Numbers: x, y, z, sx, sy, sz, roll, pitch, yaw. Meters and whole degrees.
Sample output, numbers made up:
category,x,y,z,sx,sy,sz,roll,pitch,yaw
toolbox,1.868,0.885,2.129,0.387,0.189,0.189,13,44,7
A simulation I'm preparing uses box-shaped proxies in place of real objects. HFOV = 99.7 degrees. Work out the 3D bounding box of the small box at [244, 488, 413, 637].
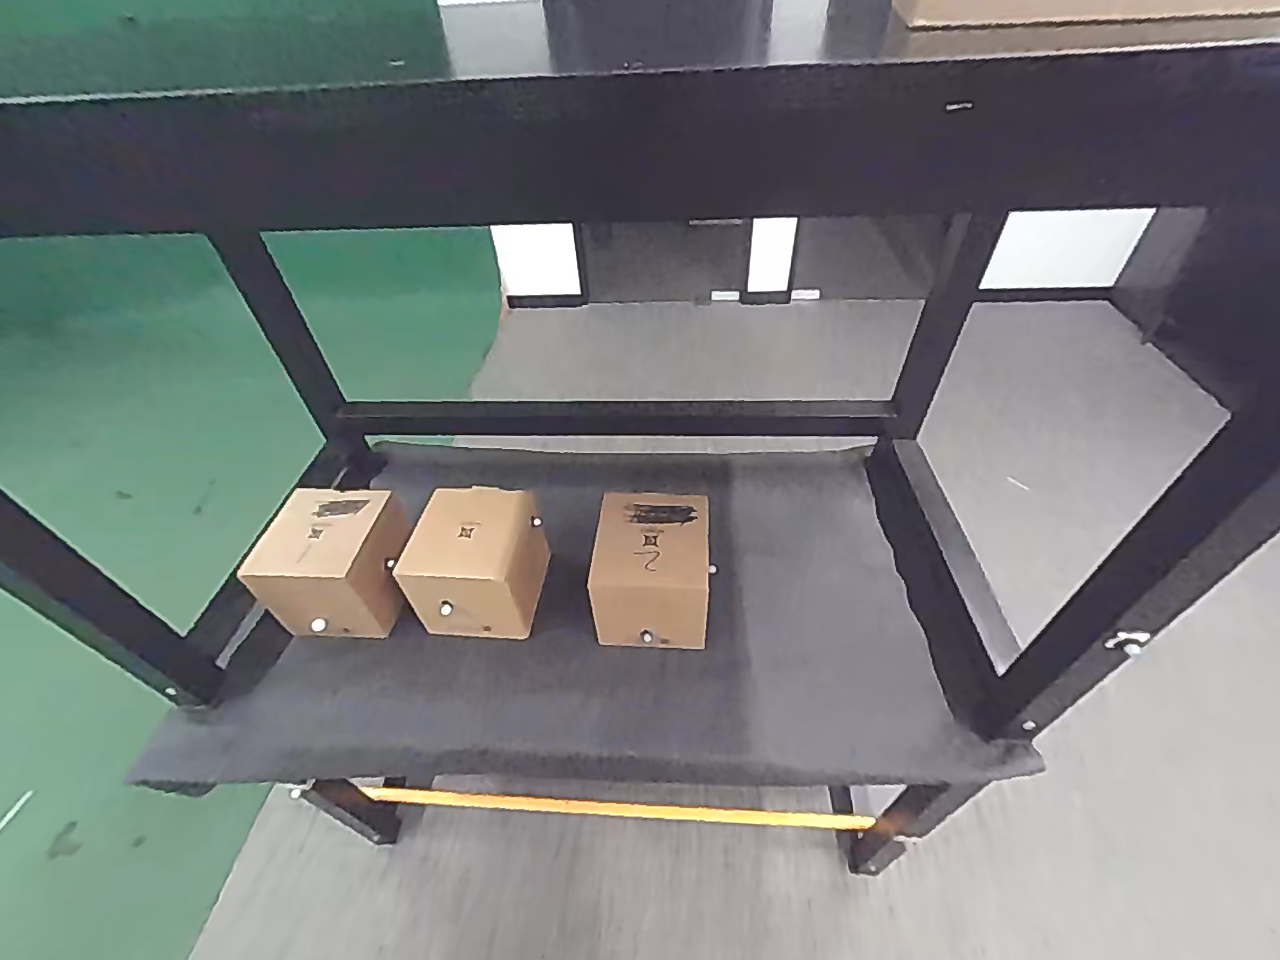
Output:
category,x,y,z,sx,sy,sz,roll,pitch,yaw
small box,-0.484,0.134,0.886,0.168,0.176,0.179,1,44,4

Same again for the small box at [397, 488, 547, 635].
category,x,y,z,sx,sy,sz,roll,pitch,yaw
small box,-0.256,0.134,0.877,0.168,0.176,0.179,2,44,5

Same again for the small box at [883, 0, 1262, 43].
category,x,y,z,sx,sy,sz,roll,pitch,yaw
small box,0.235,-0.339,0.279,0.168,0.176,0.179,9,45,12
